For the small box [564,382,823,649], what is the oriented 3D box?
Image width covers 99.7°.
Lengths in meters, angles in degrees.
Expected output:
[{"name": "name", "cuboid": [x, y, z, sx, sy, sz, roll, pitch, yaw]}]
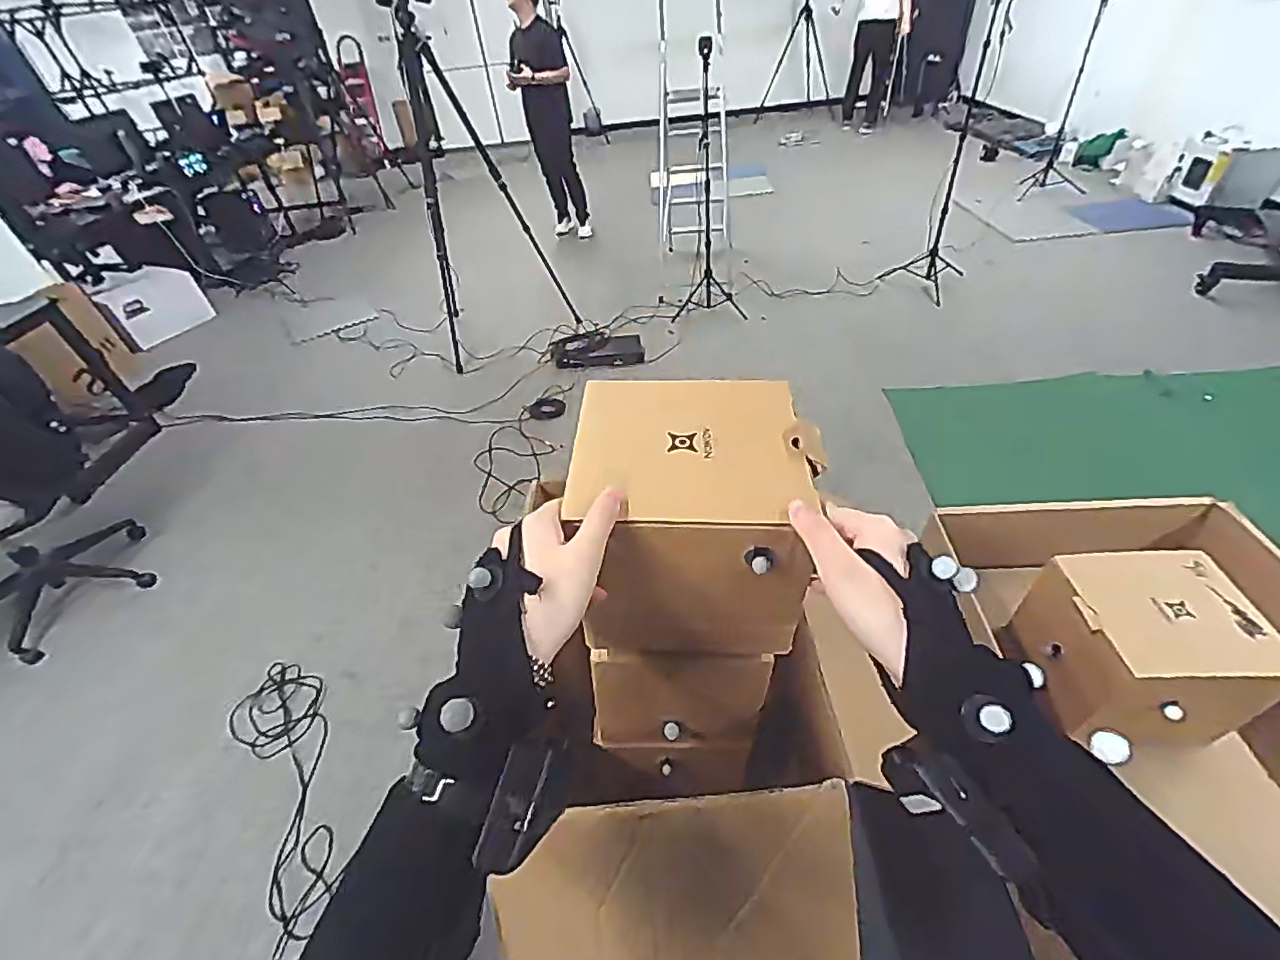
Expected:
[{"name": "small box", "cuboid": [0.040, 0.032, 0.469, 0.179, 0.176, 0.168, 1, 45, 2]}]
